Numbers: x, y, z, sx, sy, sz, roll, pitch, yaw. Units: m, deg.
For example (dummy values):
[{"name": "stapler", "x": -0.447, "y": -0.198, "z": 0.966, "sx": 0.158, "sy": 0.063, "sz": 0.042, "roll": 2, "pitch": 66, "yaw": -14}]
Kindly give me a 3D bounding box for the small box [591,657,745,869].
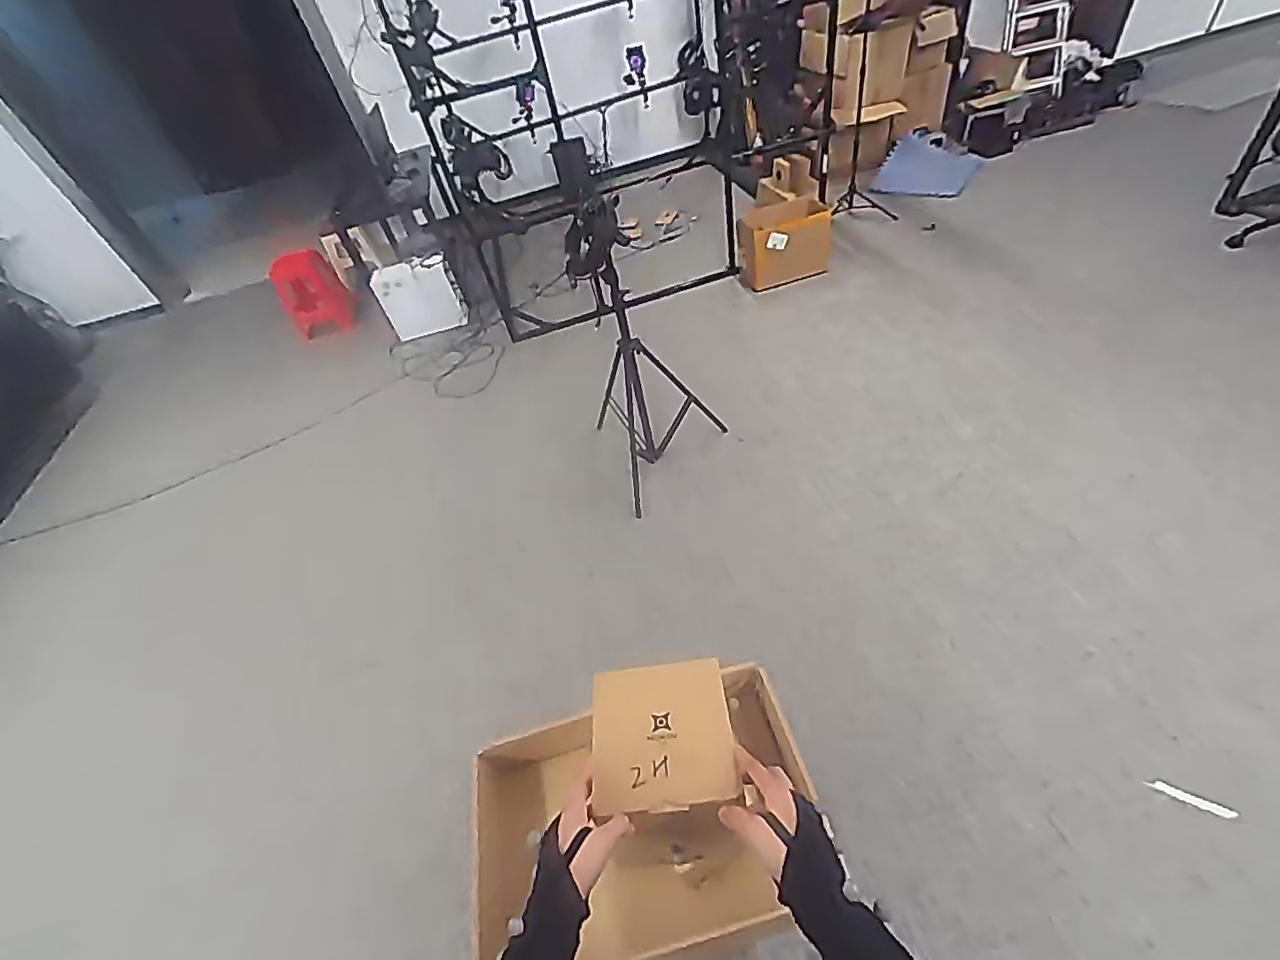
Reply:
[{"name": "small box", "x": 0.035, "y": 0.356, "z": 0.686, "sx": 0.168, "sy": 0.176, "sz": 0.179, "roll": -10, "pitch": 38, "yaw": 2}]
